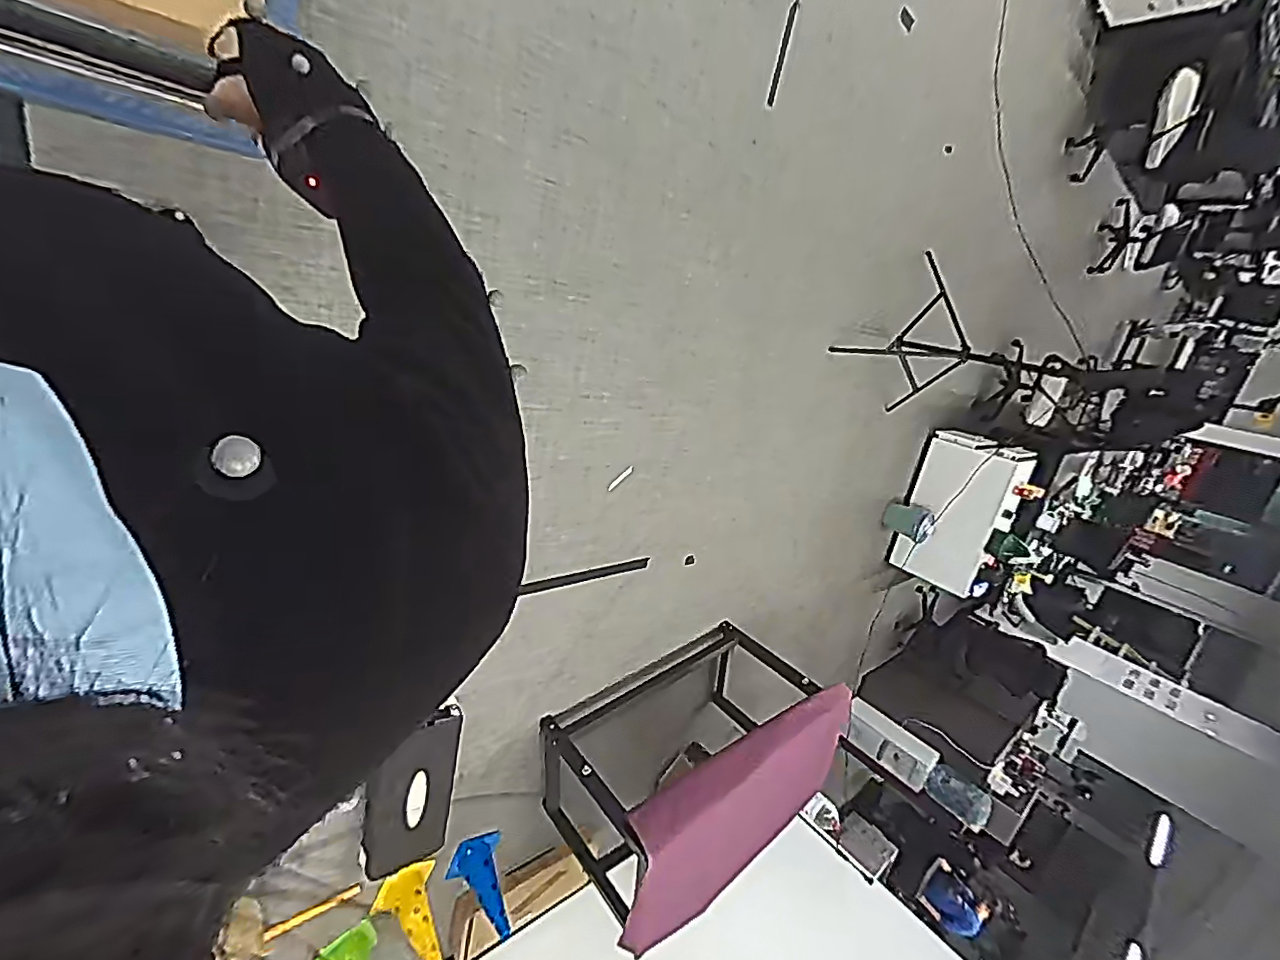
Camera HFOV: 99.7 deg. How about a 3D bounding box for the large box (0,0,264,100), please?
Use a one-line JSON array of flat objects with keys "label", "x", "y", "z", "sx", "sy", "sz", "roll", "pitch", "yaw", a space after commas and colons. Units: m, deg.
[{"label": "large box", "x": -0.744, "y": -0.744, "z": 0.676, "sx": 0.408, "sy": 0.320, "sz": 0.320, "roll": -5, "pitch": 114, "yaw": -42}]
